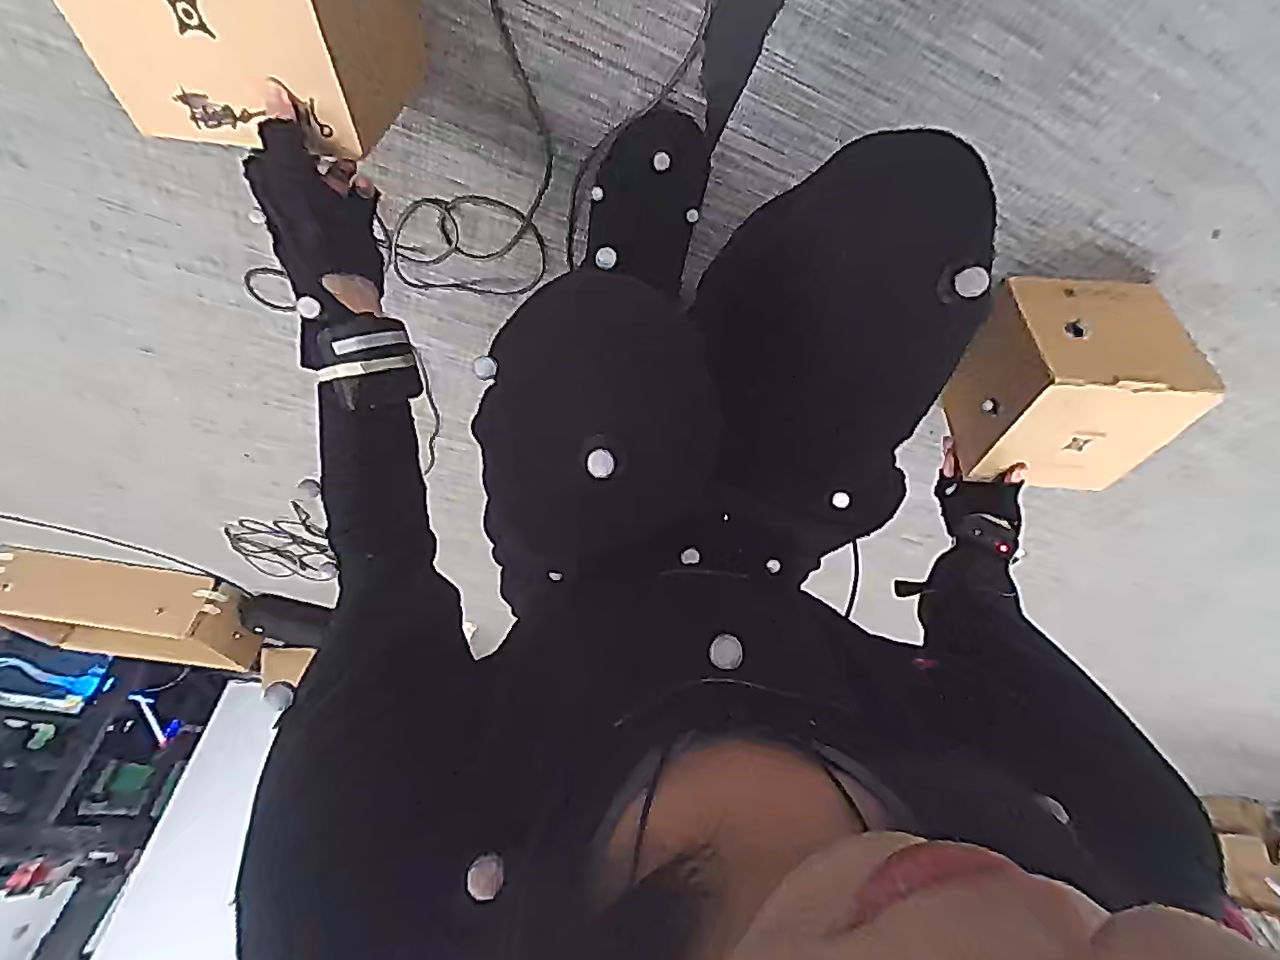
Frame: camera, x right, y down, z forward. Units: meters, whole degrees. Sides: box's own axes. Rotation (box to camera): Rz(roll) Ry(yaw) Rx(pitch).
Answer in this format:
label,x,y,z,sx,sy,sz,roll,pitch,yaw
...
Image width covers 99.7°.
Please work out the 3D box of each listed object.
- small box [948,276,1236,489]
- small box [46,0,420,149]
label,x,y,z,sx,sy,sz,roll,pitch,yaw
small box,0.485,-0.111,0.622,0.168,0.176,0.179,5,147,3
small box,-0.268,-0.359,0.359,0.168,0.176,0.179,7,144,-2
